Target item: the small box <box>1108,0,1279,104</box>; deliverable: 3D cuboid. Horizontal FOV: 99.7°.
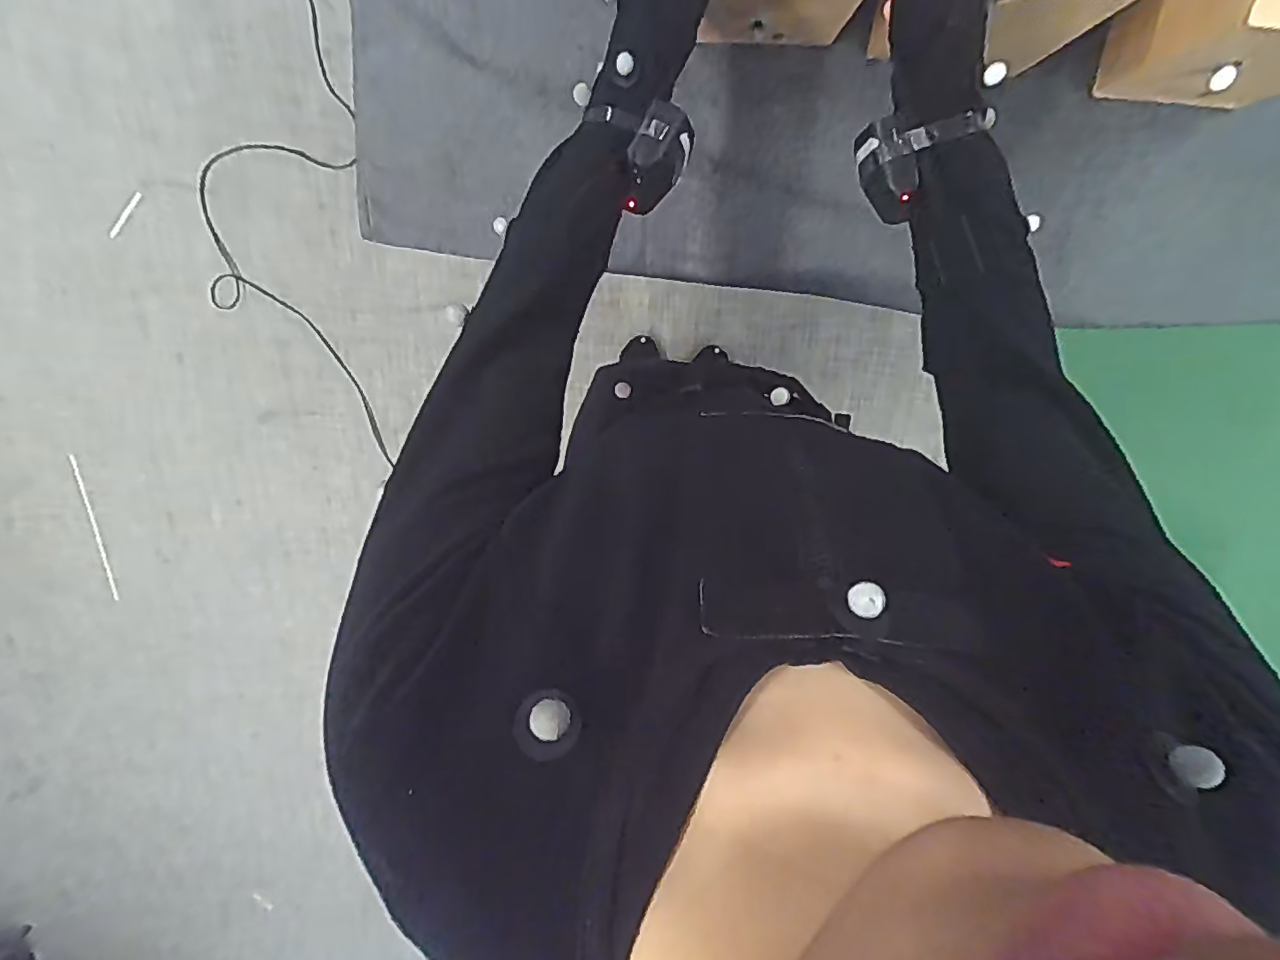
[{"bbox_3d":[0.580,-0.465,0.483,0.168,0.176,0.179,5,108,1],"label":"small box"}]
